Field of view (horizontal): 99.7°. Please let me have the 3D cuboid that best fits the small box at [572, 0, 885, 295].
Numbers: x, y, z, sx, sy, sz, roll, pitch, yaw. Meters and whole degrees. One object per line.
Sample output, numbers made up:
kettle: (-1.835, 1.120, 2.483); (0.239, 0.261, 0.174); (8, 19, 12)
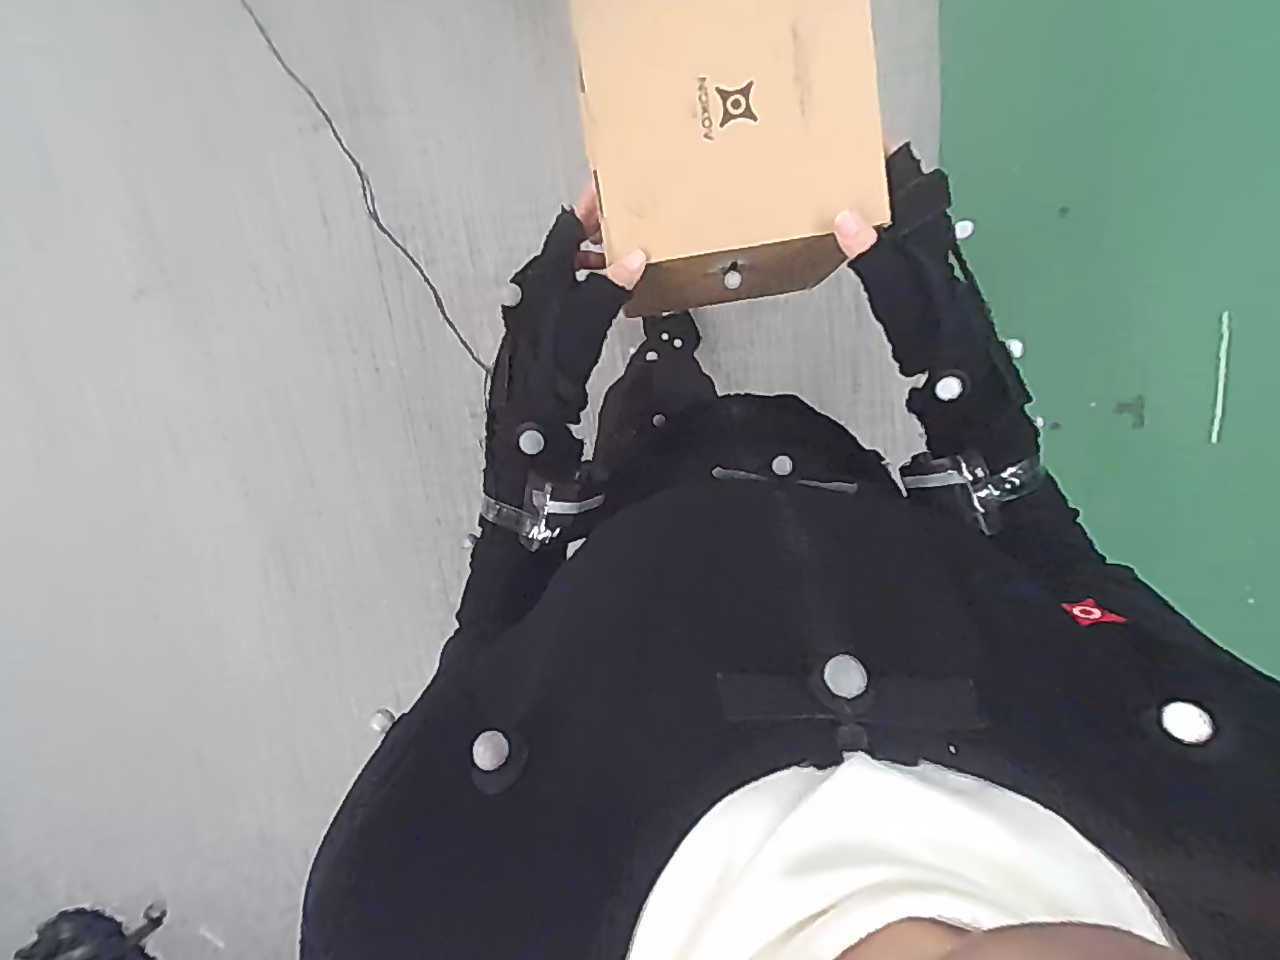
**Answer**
small box: (0.057, -0.250, 0.410); (0.179, 0.176, 0.168); (-9, 96, 2)
